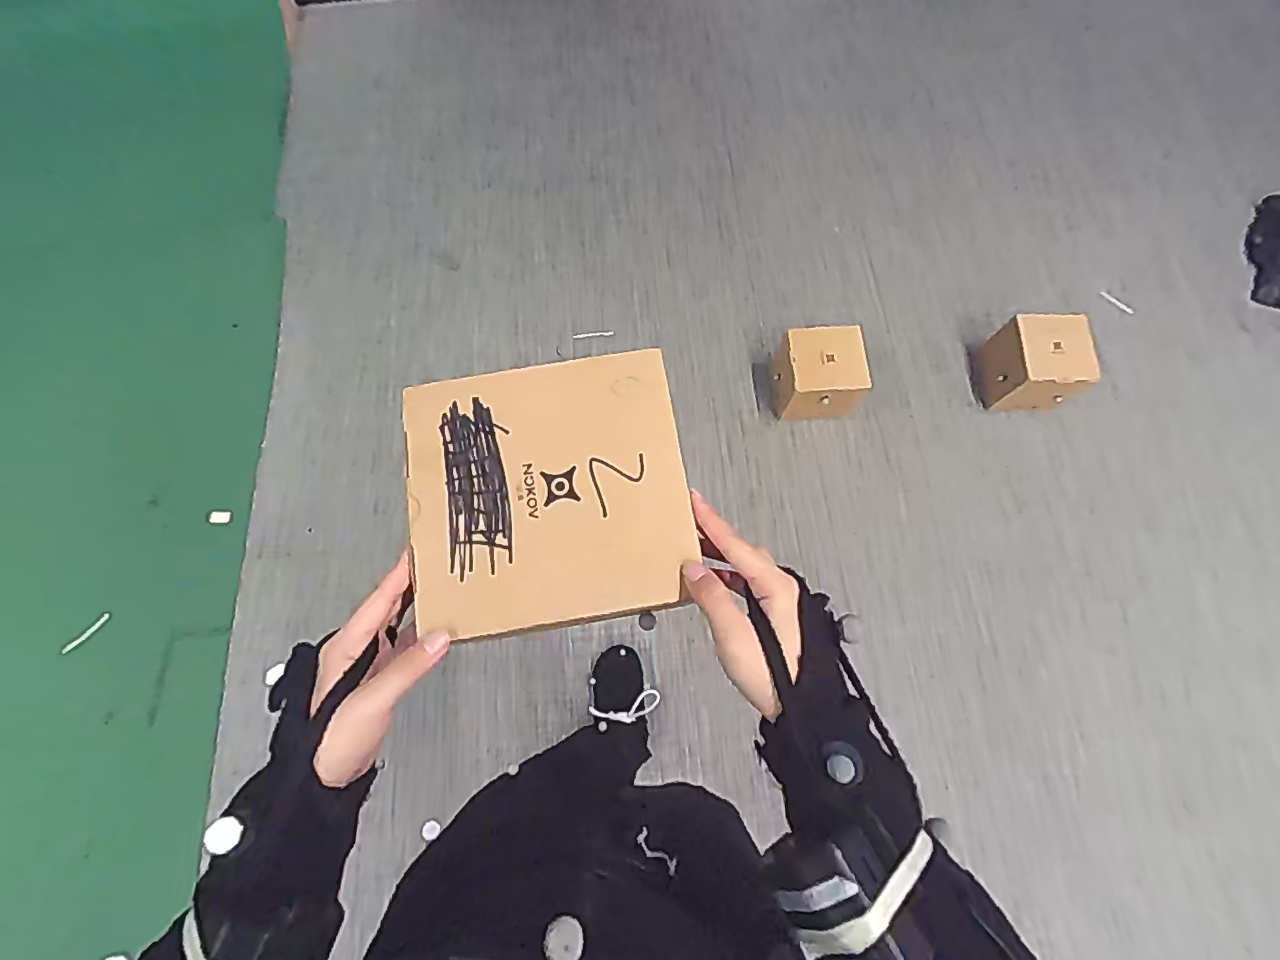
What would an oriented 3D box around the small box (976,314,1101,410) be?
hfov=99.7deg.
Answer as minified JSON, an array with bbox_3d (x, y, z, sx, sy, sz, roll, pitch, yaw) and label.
[{"bbox_3d":[0.958,-0.280,1.316,0.168,0.176,0.179,1,72,0],"label":"small box"}]

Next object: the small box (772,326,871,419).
[{"bbox_3d":[0.435,-0.257,1.320,0.179,0.176,0.168,-3,73,1],"label":"small box"}]
